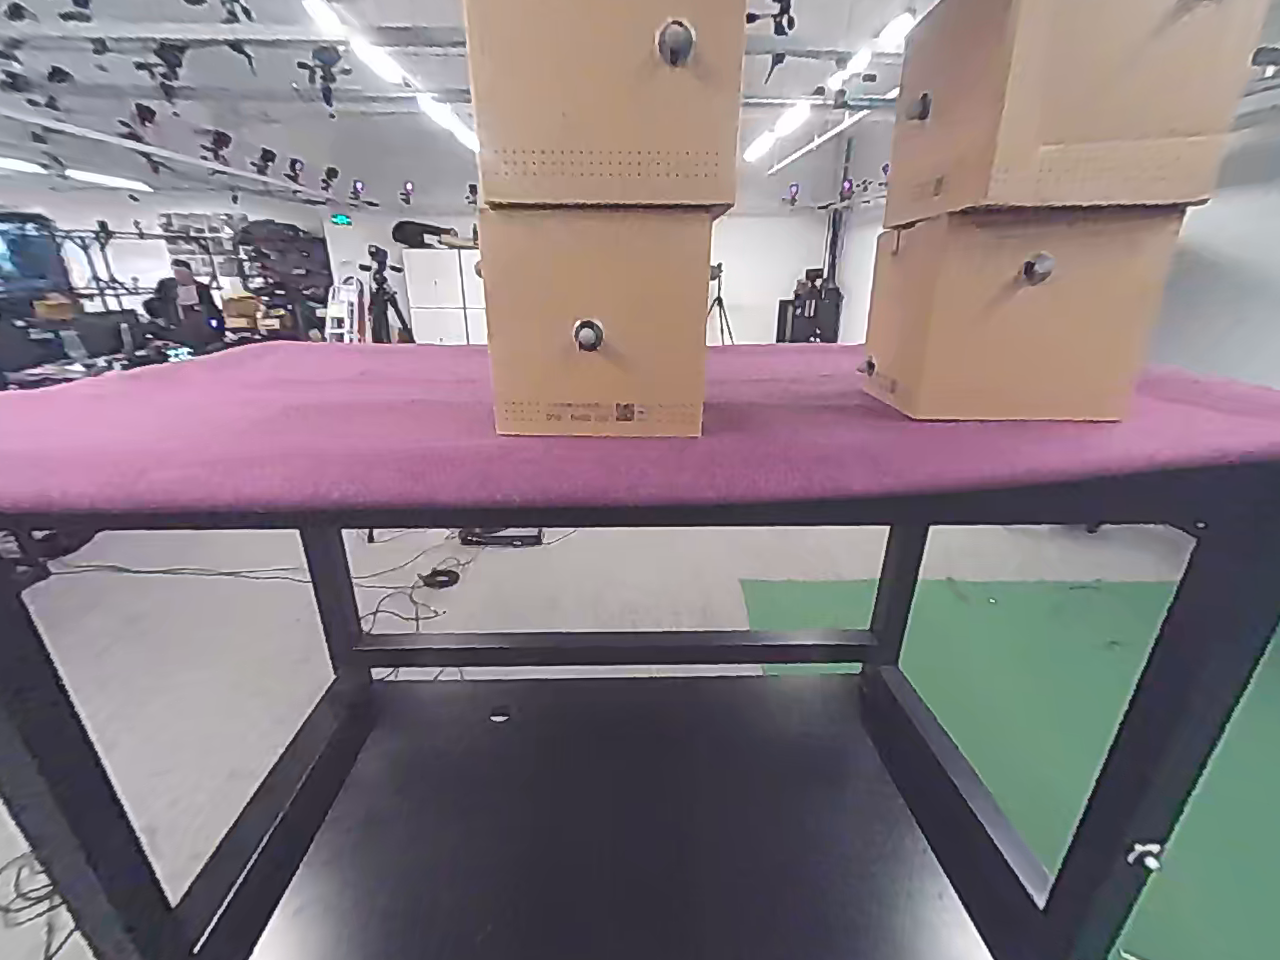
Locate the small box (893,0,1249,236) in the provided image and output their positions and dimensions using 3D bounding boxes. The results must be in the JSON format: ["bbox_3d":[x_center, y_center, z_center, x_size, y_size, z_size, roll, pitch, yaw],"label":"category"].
[{"bbox_3d":[0.330,-0.294,0.449,0.179,0.176,0.168,0,20,0],"label":"small box"}]

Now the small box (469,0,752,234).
[{"bbox_3d":[-0.016,-0.281,0.414,0.179,0.176,0.168,0,20,1],"label":"small box"}]

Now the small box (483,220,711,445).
[{"bbox_3d":[-0.028,-0.133,0.484,0.168,0.176,0.179,1,21,0],"label":"small box"}]

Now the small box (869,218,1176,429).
[{"bbox_3d":[0.333,-0.146,0.518,0.179,0.176,0.168,1,19,4],"label":"small box"}]
